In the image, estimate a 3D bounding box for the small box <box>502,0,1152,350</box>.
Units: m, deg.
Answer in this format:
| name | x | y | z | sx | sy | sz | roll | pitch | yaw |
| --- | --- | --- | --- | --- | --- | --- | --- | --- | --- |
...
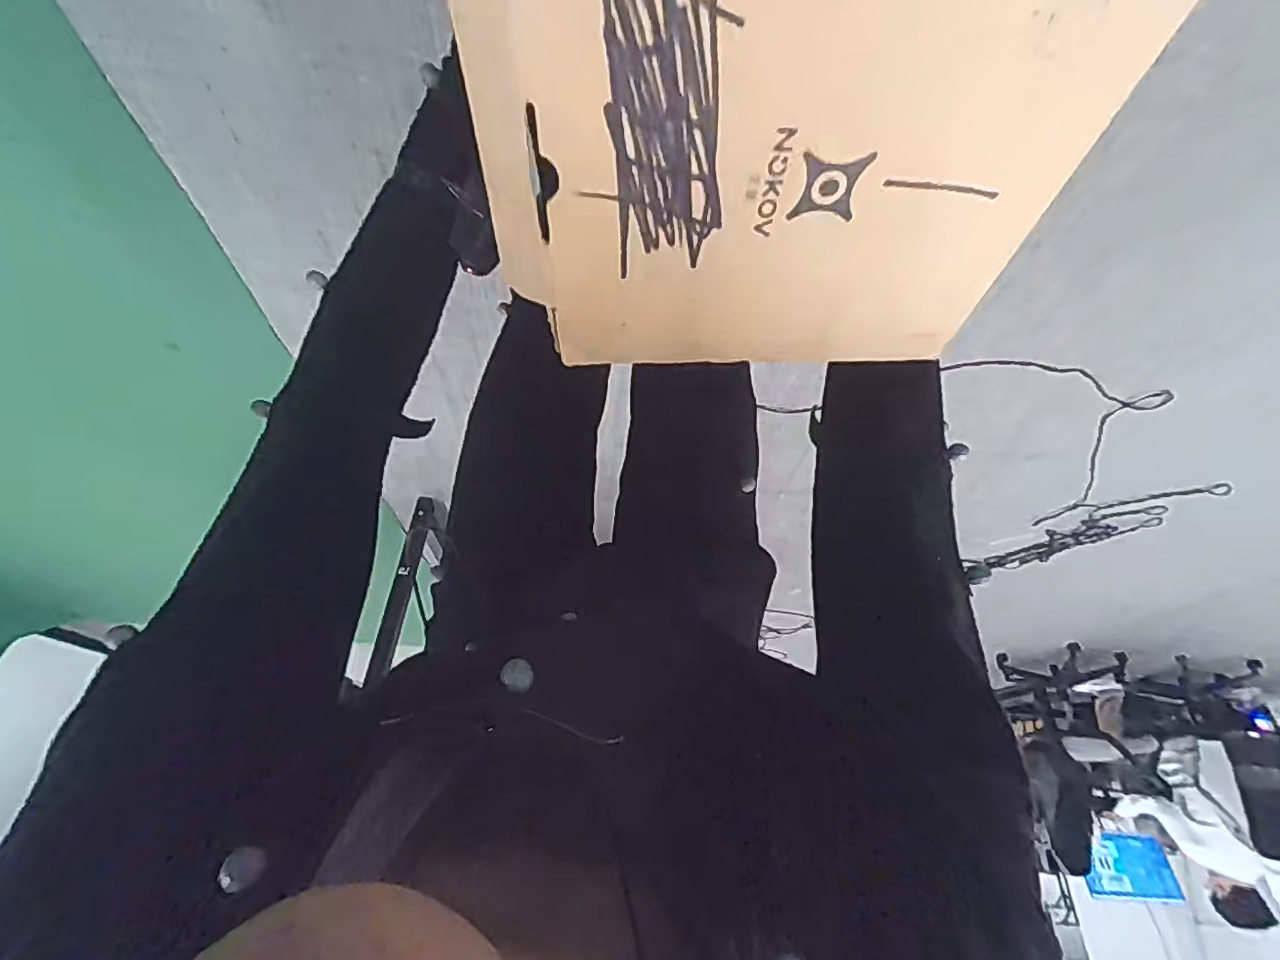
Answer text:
| name | x | y | z | sx | sy | sz | roll | pitch | yaw |
| --- | --- | --- | --- | --- | --- | --- | --- | --- | --- |
| small box | 0.048 | -0.174 | 0.221 | 0.179 | 0.176 | 0.168 | -1 | 150 | -2 |
